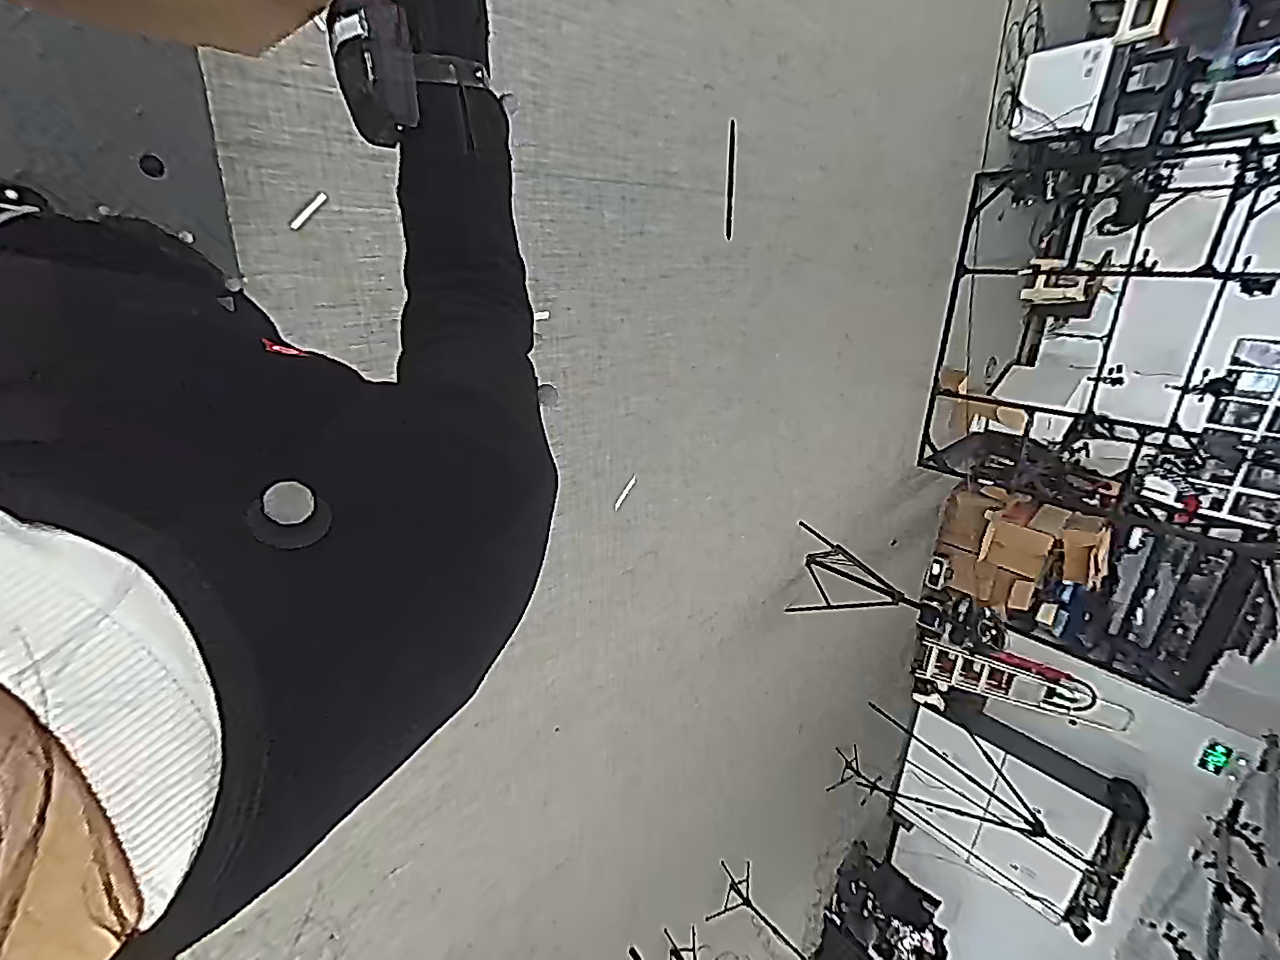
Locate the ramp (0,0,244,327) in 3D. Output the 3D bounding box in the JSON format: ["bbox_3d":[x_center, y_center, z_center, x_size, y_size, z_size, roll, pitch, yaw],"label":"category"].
[{"bbox_3d":[-0.965,-0.729,0.794,0.509,0.206,0.991,-19,119,-40],"label":"ramp"}]

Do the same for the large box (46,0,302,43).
[{"bbox_3d":[-0.395,-0.430,0.211,0.408,0.320,0.320,-17,125,-39],"label":"large box"}]
